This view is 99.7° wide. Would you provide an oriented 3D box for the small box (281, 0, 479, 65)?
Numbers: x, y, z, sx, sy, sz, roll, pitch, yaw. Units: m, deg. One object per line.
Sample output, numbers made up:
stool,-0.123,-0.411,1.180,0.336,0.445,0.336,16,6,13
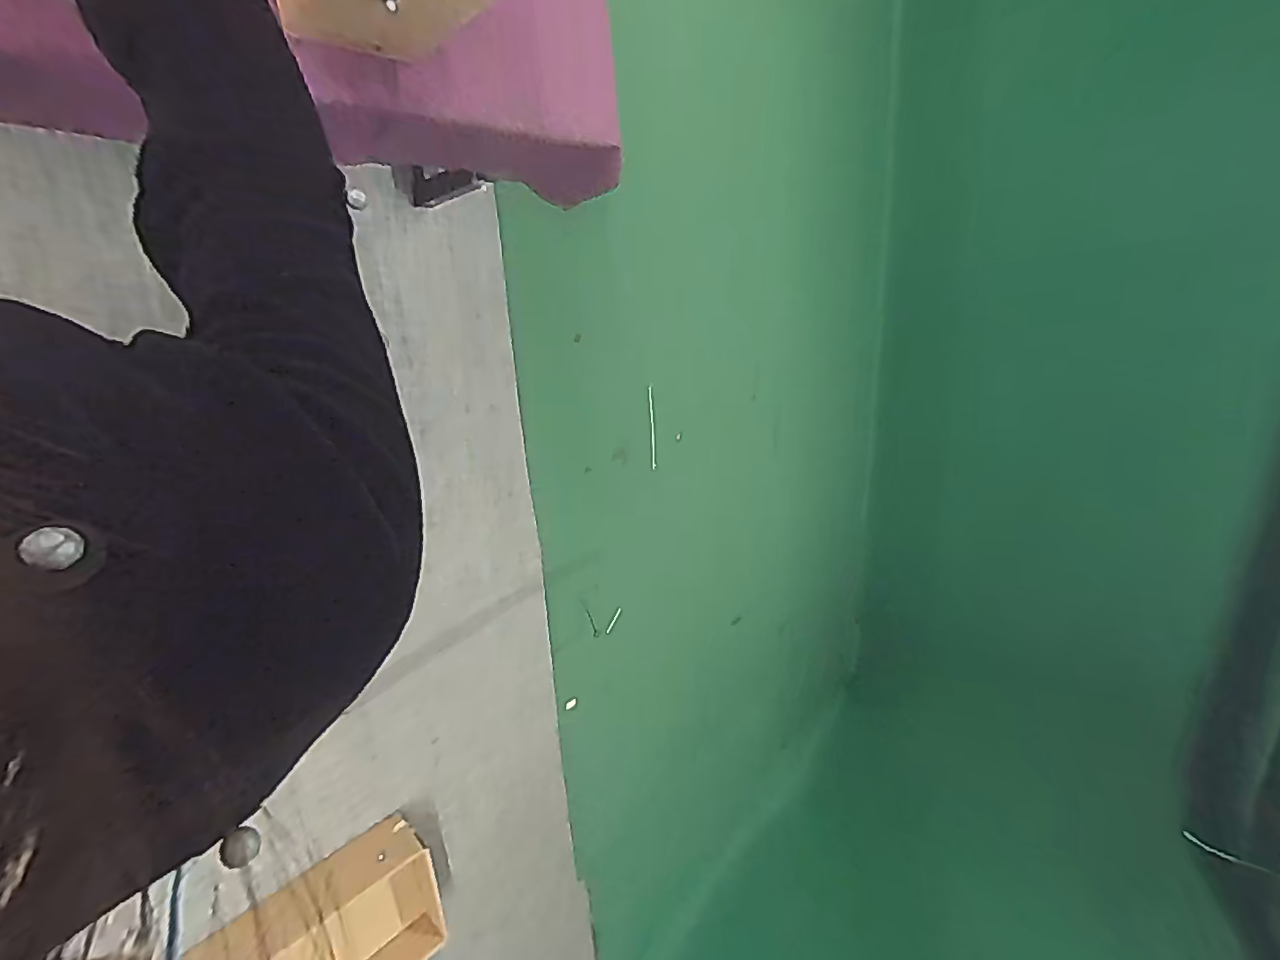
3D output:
small box,-0.313,-0.621,0.615,0.168,0.176,0.179,-23,115,-41
